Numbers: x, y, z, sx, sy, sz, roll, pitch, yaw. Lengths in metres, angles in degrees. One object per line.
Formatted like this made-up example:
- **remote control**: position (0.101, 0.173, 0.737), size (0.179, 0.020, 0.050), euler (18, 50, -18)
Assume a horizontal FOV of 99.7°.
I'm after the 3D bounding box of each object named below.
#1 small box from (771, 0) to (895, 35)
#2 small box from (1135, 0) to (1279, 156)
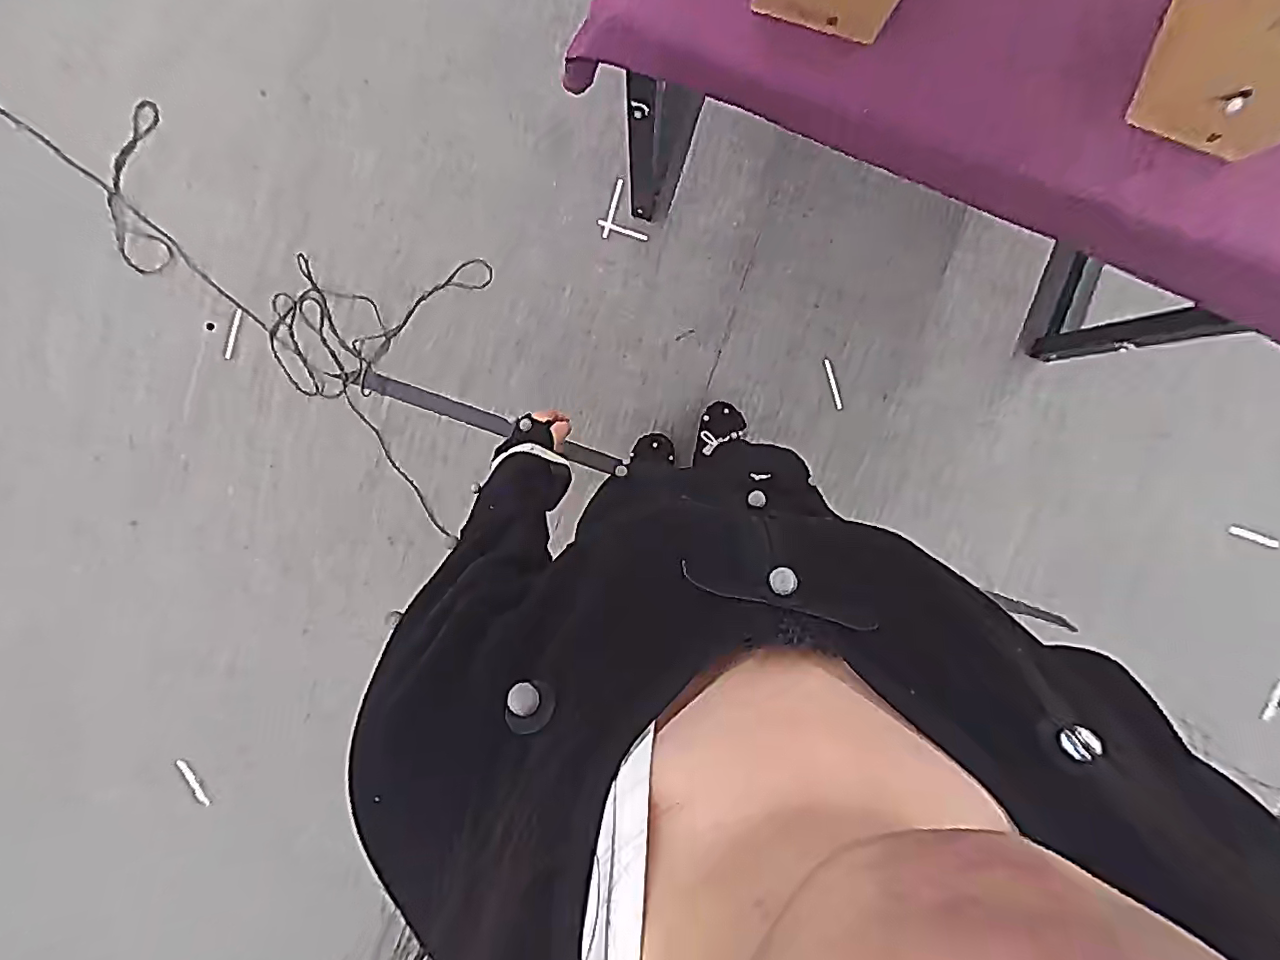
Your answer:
- **small box**: position (0.247, -0.663, 0.610), size (0.168, 0.176, 0.179), euler (15, 95, -2)
- **small box**: position (0.746, -0.521, 0.631), size (0.168, 0.176, 0.179), euler (19, 95, -2)
